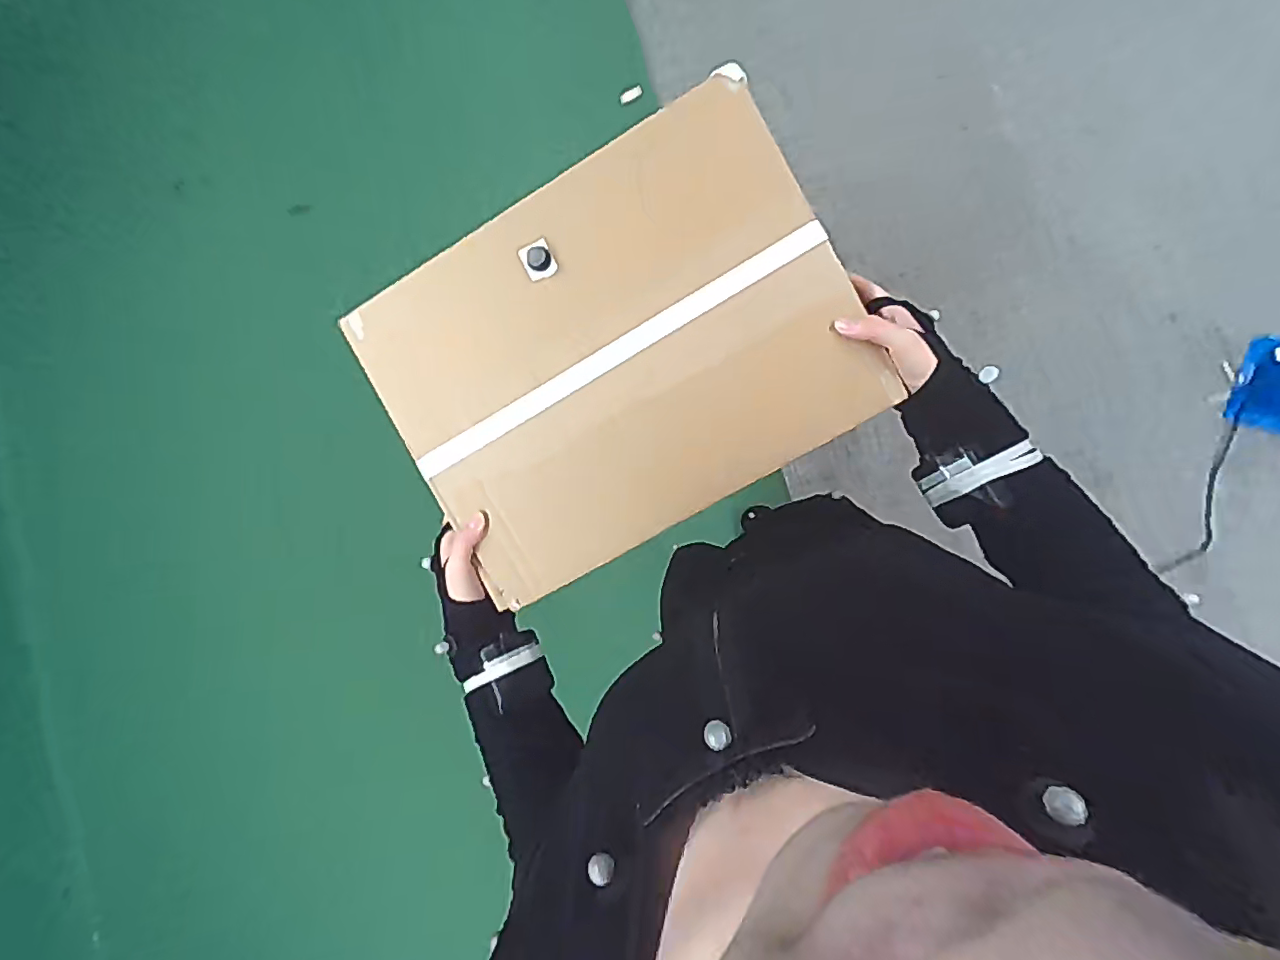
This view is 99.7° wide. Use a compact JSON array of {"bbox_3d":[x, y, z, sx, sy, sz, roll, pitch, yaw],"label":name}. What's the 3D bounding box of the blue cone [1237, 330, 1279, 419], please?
[{"bbox_3d":[1.370,-0.225,1.004,0.193,0.380,0.192,15,93,16],"label":"blue cone"}]
